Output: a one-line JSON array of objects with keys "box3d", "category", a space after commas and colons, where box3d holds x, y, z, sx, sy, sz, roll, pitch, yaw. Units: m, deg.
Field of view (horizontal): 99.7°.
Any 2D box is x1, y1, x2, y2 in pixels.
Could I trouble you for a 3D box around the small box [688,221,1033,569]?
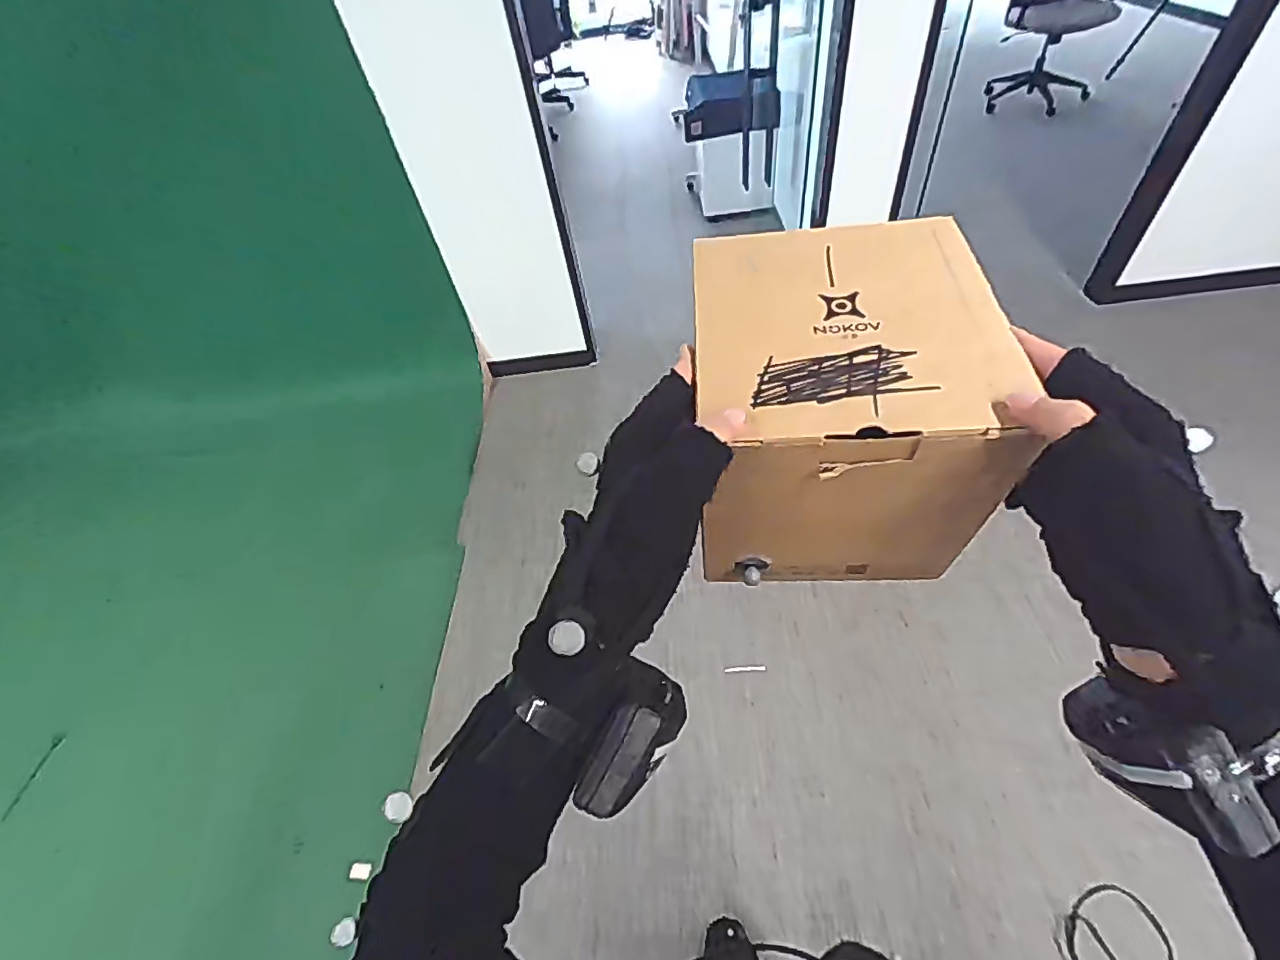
[{"box3d": [0.121, -0.047, 0.376, 0.168, 0.176, 0.179, -2, 55, 7], "category": "small box"}]
